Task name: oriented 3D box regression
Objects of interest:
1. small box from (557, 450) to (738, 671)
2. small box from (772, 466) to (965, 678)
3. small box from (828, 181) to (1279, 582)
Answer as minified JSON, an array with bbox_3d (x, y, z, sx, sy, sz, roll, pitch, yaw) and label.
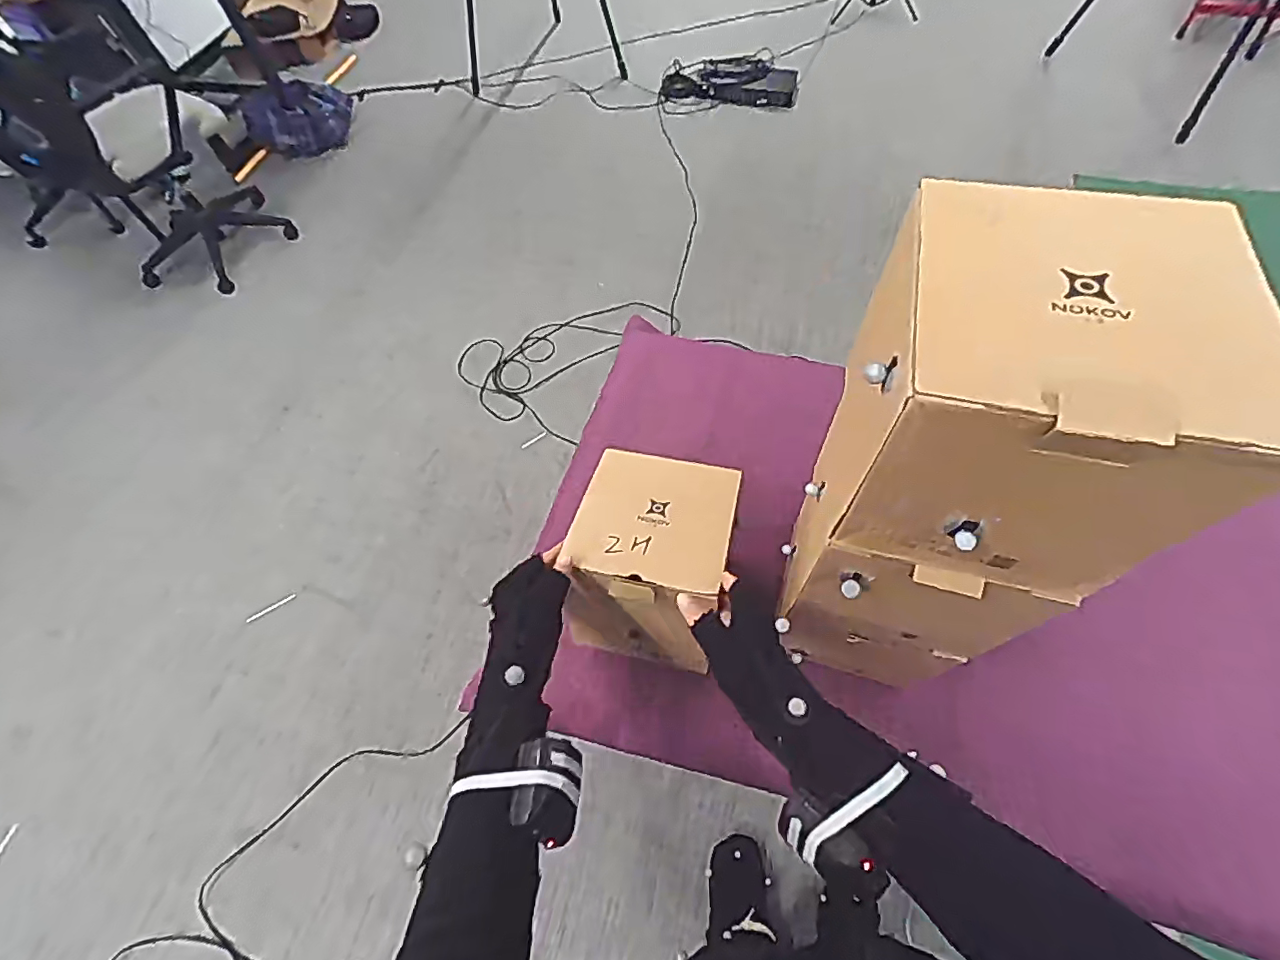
[{"bbox_3d":[0.015,0.093,0.638,0.168,0.176,0.179,9,46,11],"label":"small box"},{"bbox_3d":[0.257,0.113,0.630,0.168,0.176,0.179,14,62,13],"label":"small box"},{"bbox_3d":[0.229,-0.057,0.351,0.168,0.176,0.179,11,62,11],"label":"small box"}]
